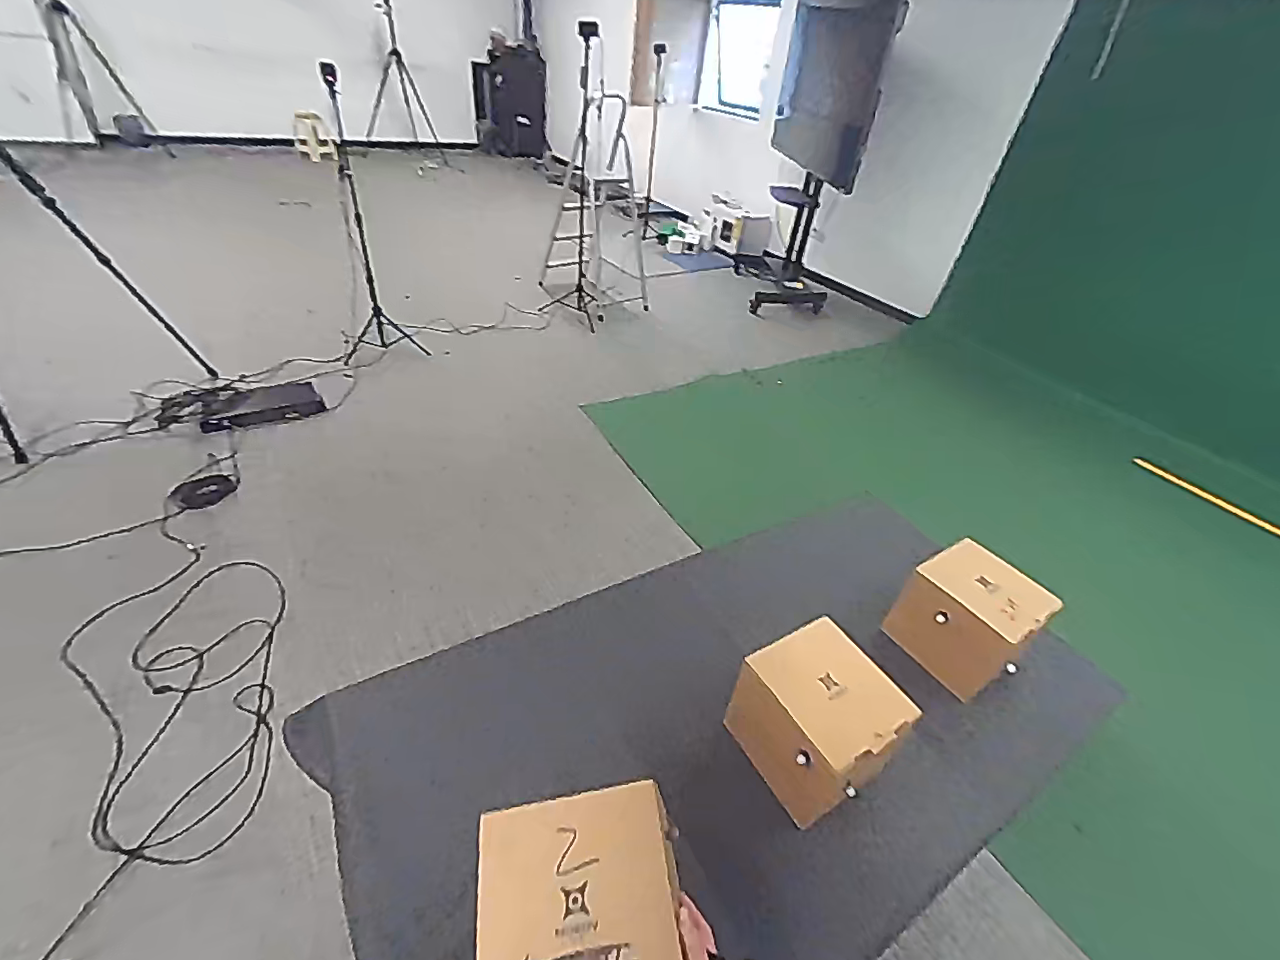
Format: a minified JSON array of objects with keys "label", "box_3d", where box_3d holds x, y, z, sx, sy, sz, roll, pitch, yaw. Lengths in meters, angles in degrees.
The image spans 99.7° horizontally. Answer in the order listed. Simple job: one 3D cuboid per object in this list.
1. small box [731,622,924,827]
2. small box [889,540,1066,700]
[{"label":"small box","box_3d":[0.252,0.345,0.774,0.168,0.176,0.179,-17,43,-27]},{"label":"small box","box_3d":[0.574,0.241,0.944,0.168,0.176,0.179,-19,44,-27]}]
